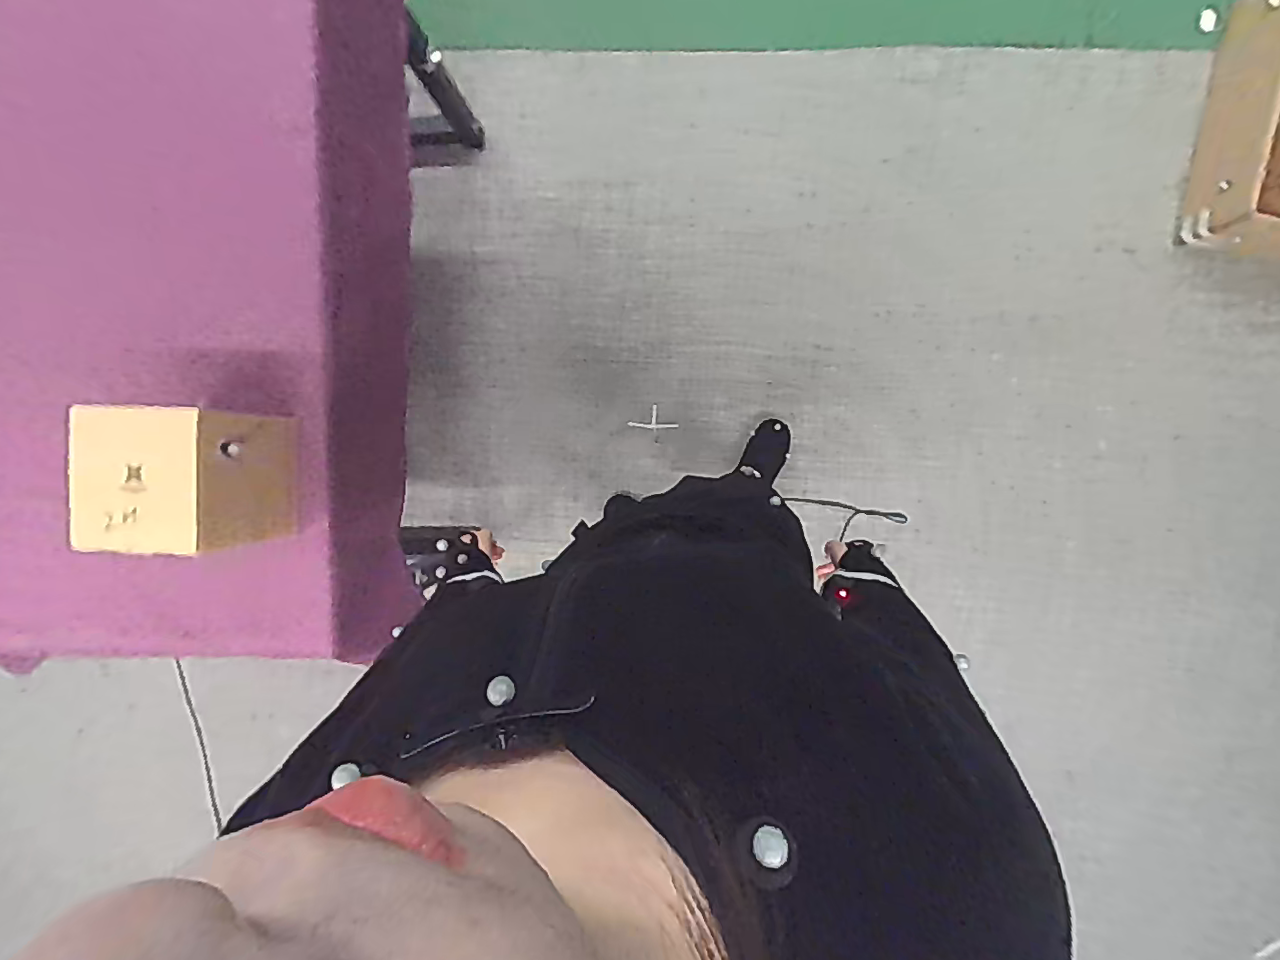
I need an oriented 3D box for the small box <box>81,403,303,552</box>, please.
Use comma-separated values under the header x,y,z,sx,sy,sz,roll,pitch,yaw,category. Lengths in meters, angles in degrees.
x,y,z,sx,sy,sz,roll,pitch,yaw,category
-0.589,-0.006,0.731,0.168,0.176,0.179,2,93,6,small box
